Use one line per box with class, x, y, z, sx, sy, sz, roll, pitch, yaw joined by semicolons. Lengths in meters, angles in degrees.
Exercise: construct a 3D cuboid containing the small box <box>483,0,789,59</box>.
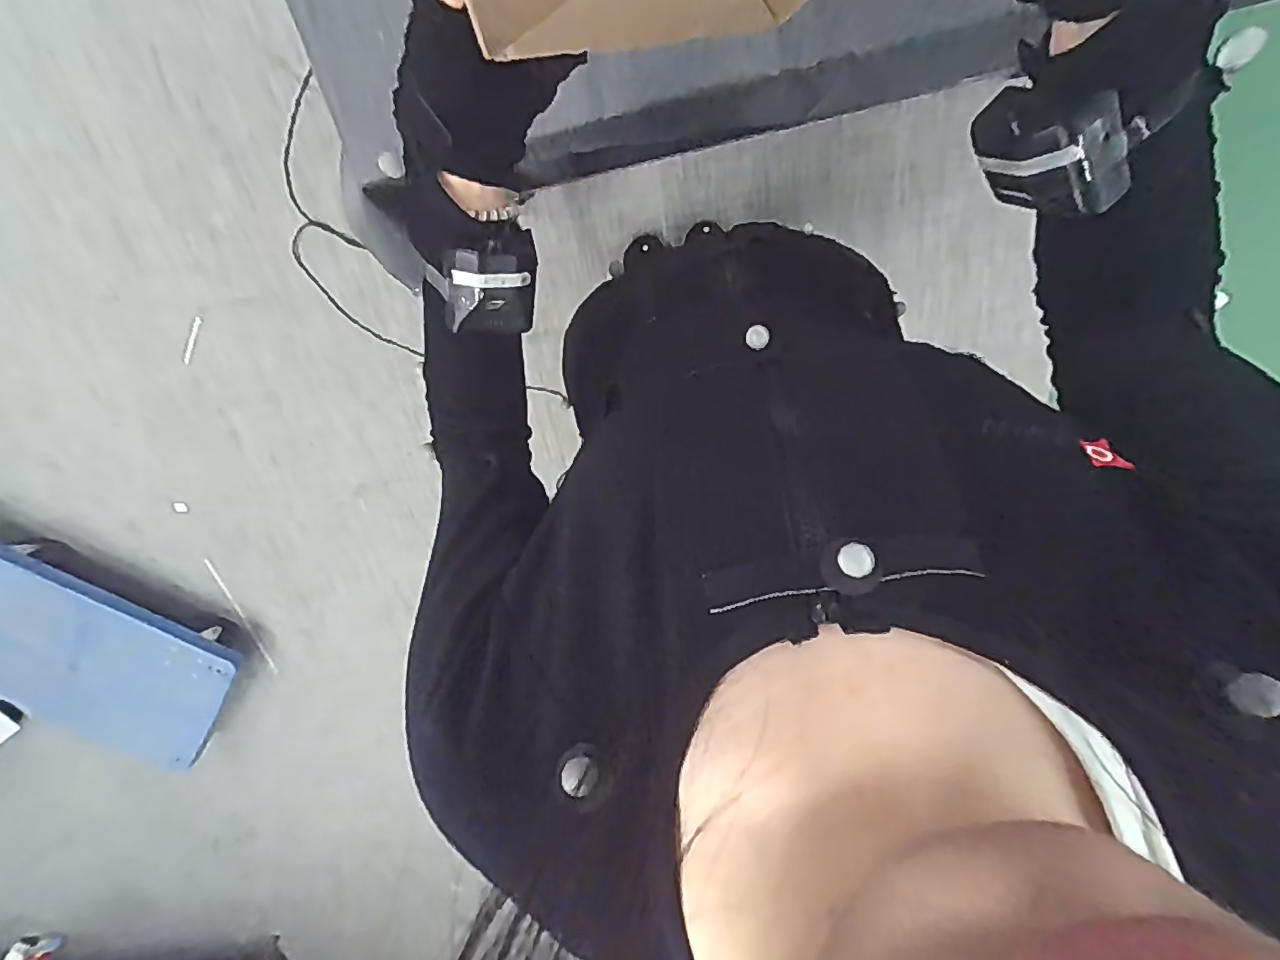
small box;0.003;-0.283;0.185;0.168;0.179;0.176;-11;113;-4
